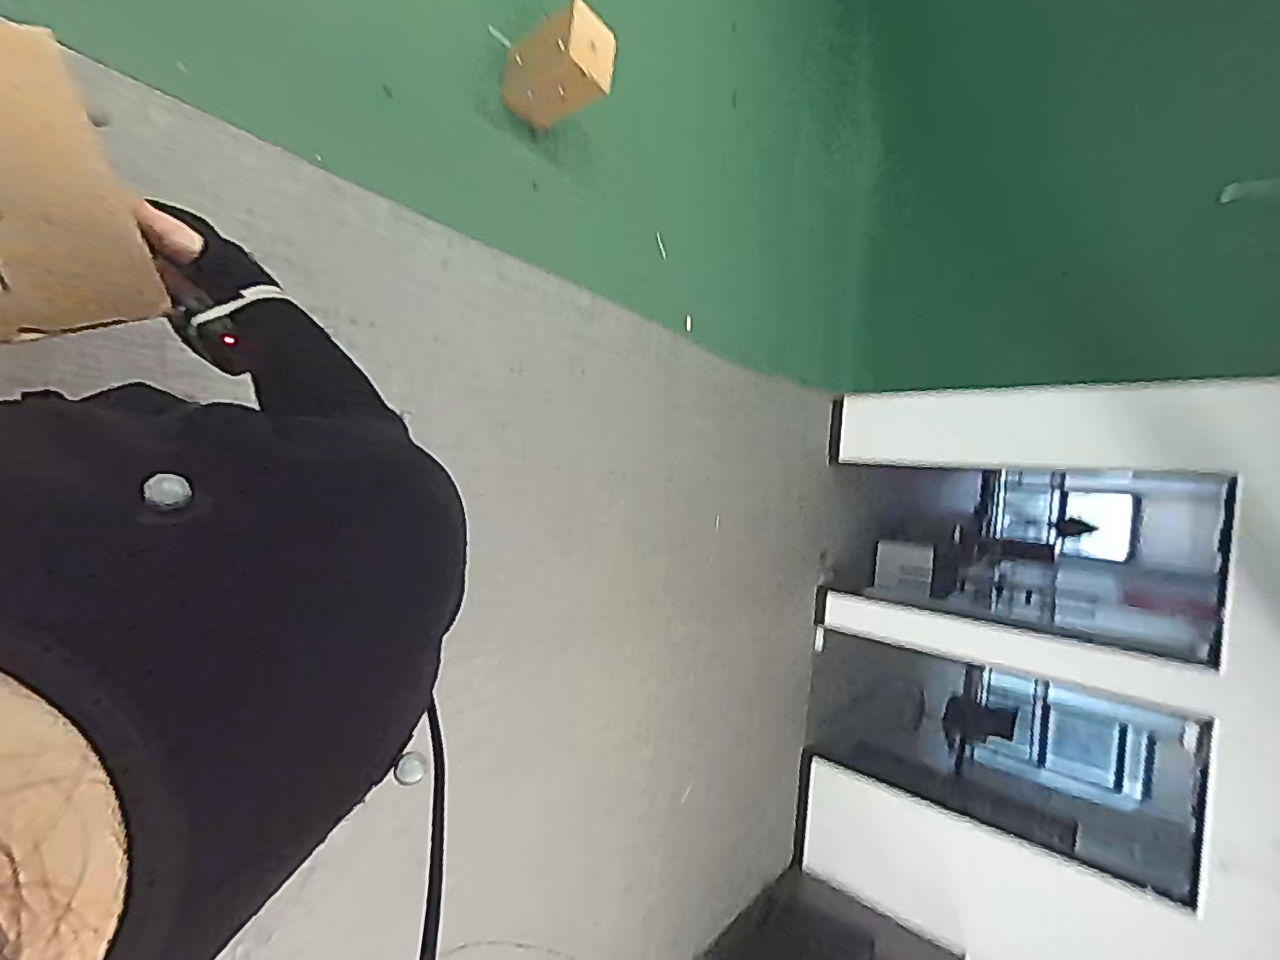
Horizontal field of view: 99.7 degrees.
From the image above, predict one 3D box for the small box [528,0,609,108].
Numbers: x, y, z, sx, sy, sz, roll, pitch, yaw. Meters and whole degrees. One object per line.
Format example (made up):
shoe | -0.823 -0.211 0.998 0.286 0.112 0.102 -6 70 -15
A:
small box | -0.214 -1.267 1.612 0.168 0.176 0.179 9 87 -50
